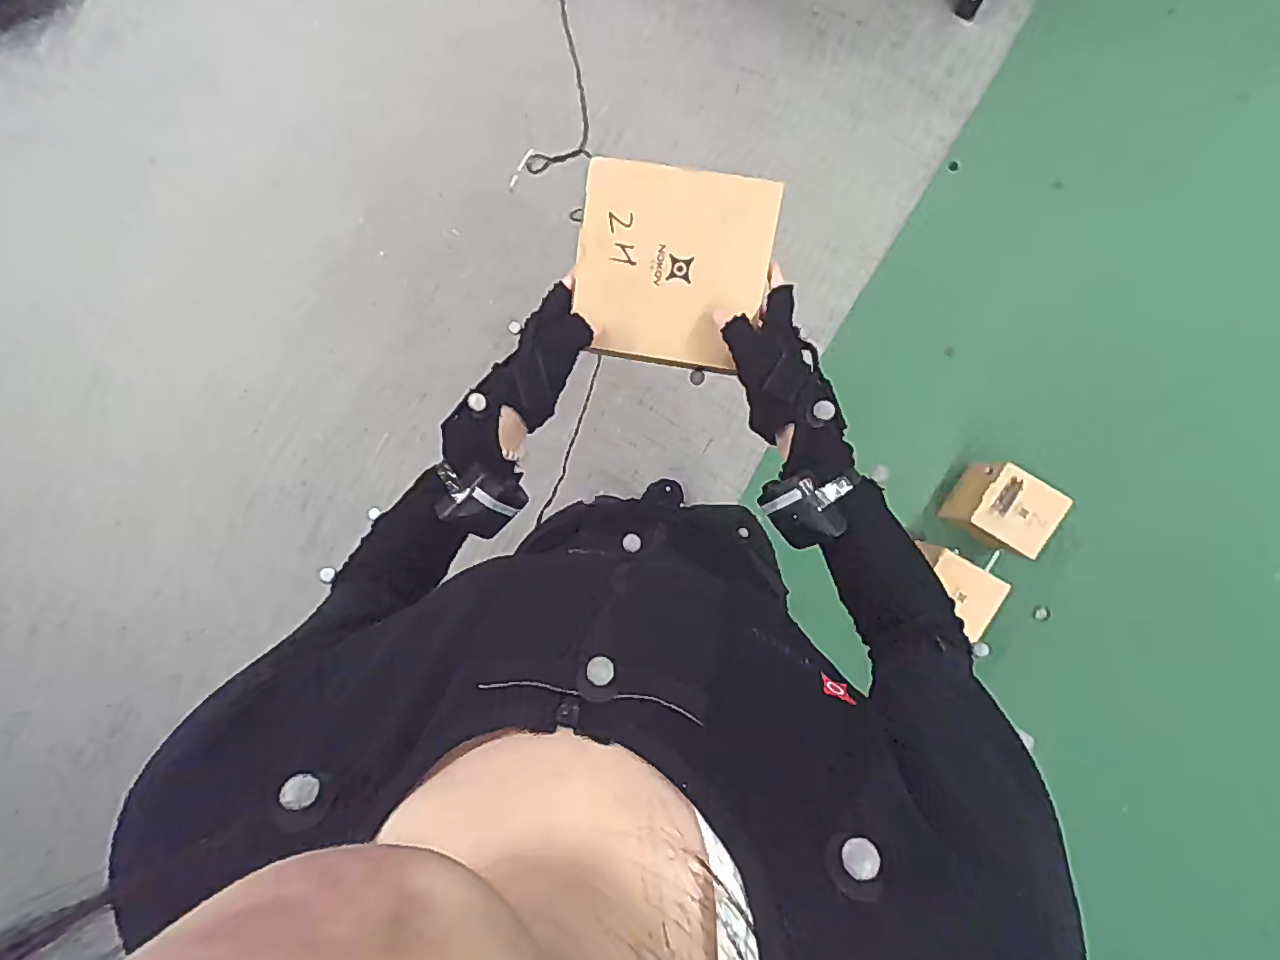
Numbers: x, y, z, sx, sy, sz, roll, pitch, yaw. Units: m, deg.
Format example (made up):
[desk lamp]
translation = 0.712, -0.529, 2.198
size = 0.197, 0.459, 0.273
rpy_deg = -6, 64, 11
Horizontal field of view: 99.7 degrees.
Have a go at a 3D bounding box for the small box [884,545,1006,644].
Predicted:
[small box]
translation = 0.757, 0.277, 1.363
size = 0.179, 0.176, 0.168
rpy_deg = 30, 94, 5
